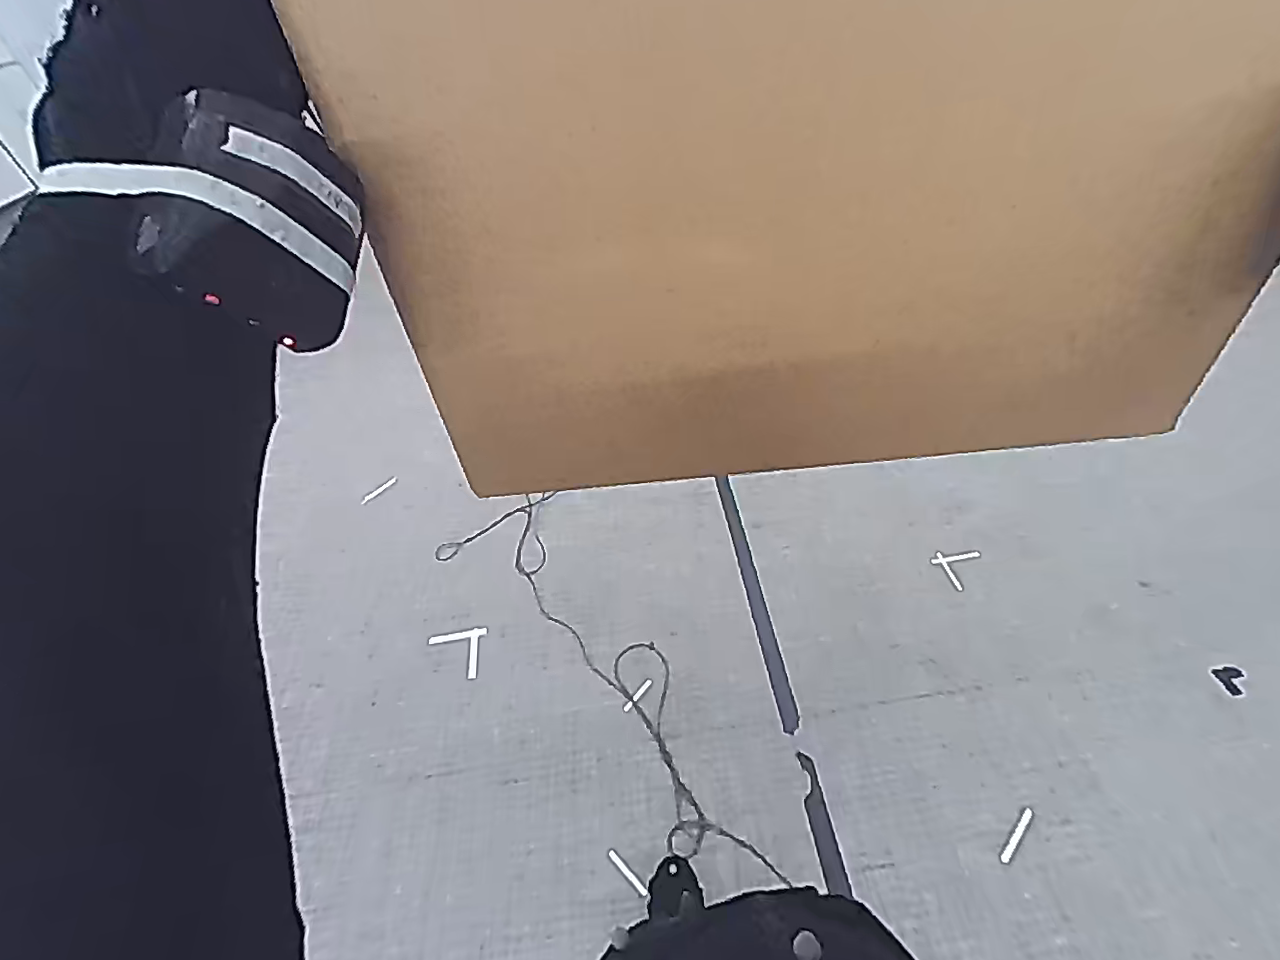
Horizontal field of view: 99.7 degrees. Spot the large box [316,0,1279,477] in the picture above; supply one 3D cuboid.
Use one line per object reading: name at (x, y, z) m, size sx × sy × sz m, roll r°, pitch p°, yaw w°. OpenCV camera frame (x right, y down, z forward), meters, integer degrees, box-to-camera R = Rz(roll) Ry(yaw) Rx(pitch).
large box at (0.077, -0.227, 0.351) m, size 0.408 × 0.320 × 0.320 m, roll -5°, pitch 40°, yaw 2°
